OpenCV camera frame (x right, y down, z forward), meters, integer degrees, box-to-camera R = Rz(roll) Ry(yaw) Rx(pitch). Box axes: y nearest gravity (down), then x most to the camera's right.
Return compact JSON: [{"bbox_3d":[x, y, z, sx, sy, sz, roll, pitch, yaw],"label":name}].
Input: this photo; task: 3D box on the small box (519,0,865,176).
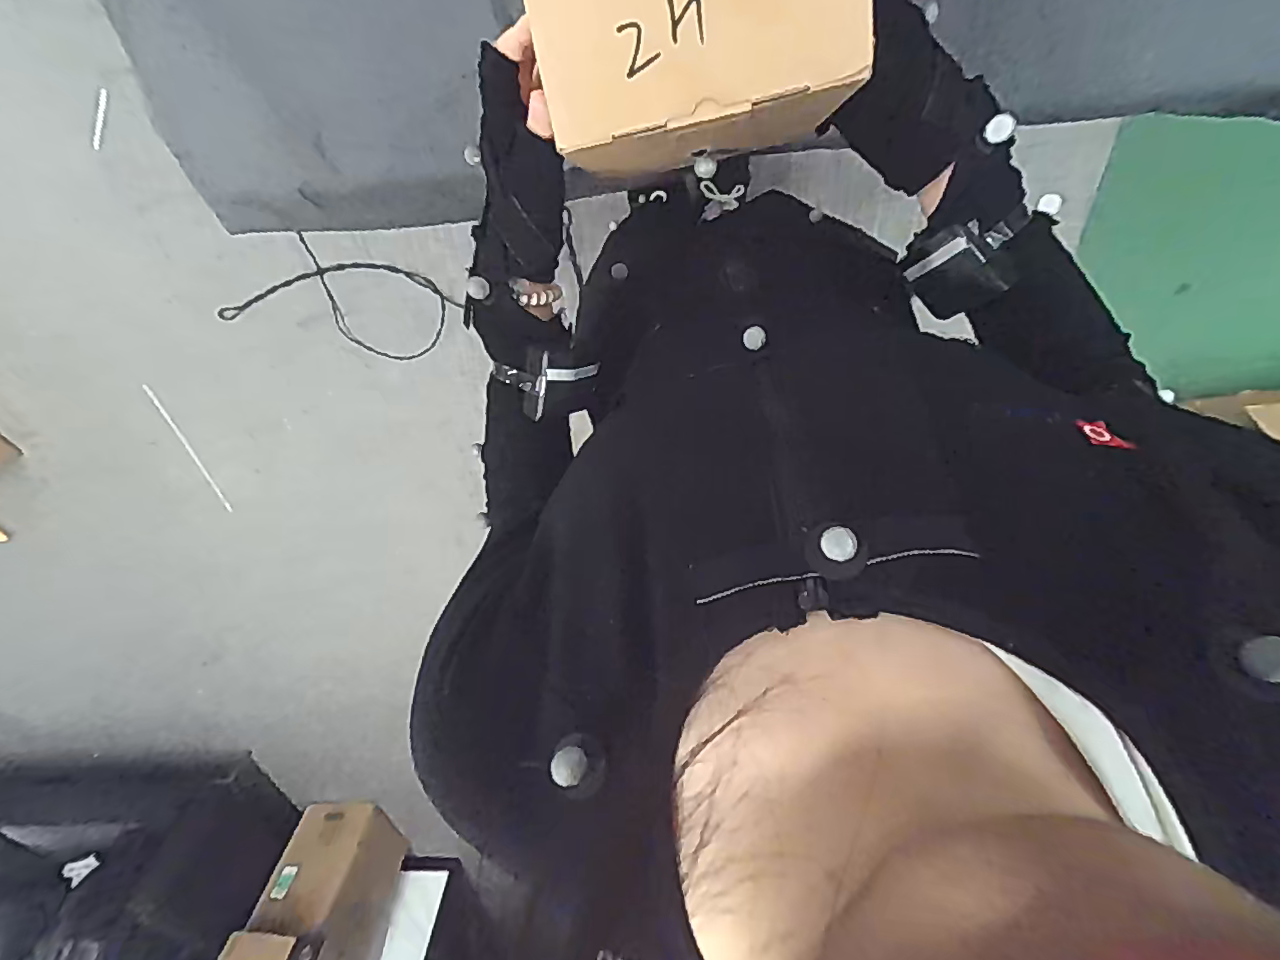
[{"bbox_3d":[0.022,-0.300,0.318,0.168,0.176,0.179,-8,113,10],"label":"small box"}]
